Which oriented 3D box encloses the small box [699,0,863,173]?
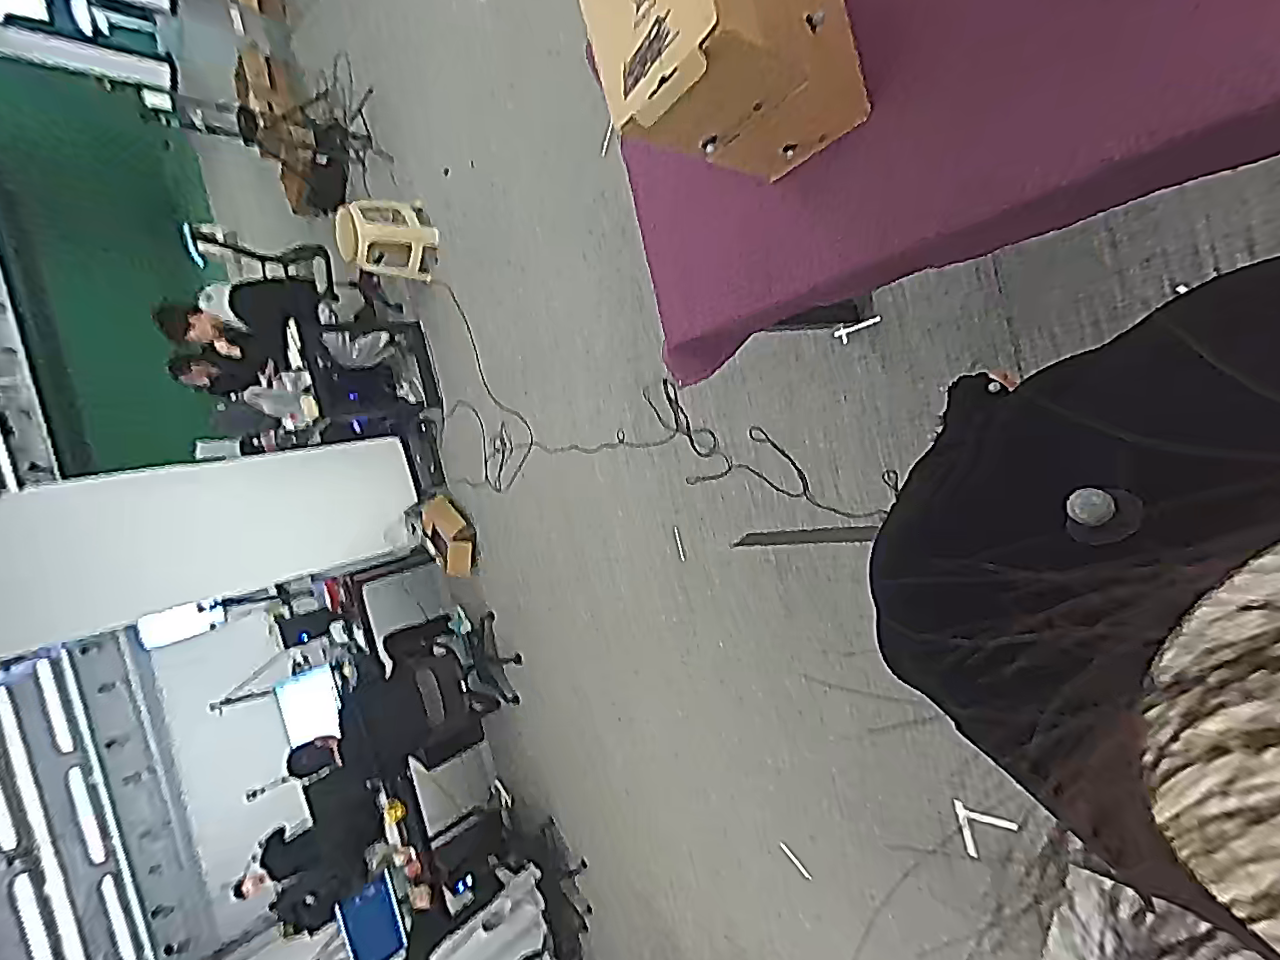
[{"bbox_3d":[0.176,-0.553,0.735,0.168,0.176,0.179,-12,94,48],"label":"small box"}]

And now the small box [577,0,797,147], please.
[{"bbox_3d":[0.057,-0.519,0.626,0.168,0.176,0.179,-14,91,48],"label":"small box"}]
